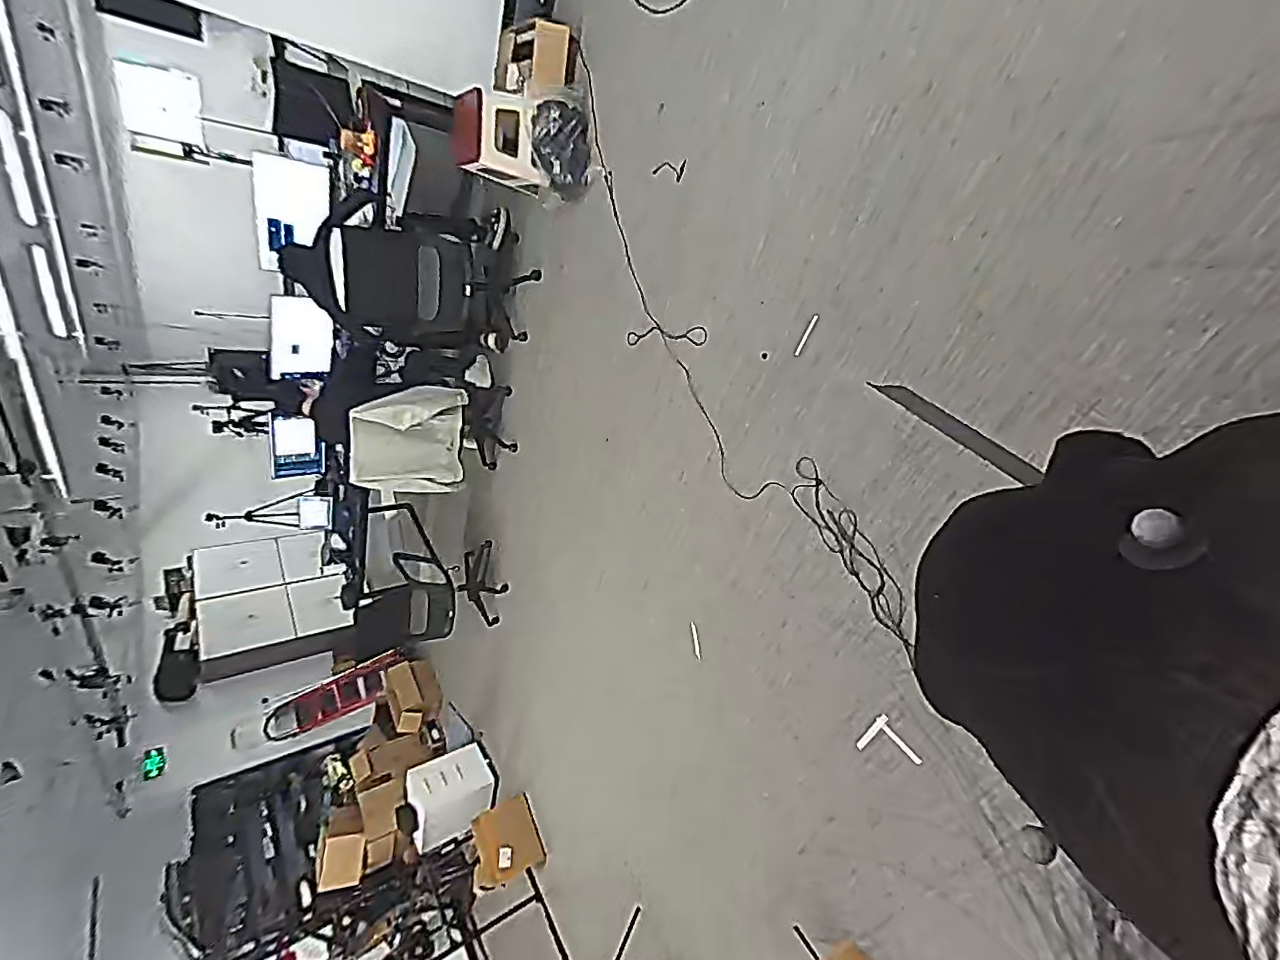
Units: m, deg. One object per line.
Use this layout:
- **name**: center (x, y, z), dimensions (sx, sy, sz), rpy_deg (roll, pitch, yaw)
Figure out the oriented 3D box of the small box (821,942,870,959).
- **small box**: center (0.691, 1.689, 1.798), dimensions (0.179, 0.176, 0.168), rpy_deg (52, 133, 32)
